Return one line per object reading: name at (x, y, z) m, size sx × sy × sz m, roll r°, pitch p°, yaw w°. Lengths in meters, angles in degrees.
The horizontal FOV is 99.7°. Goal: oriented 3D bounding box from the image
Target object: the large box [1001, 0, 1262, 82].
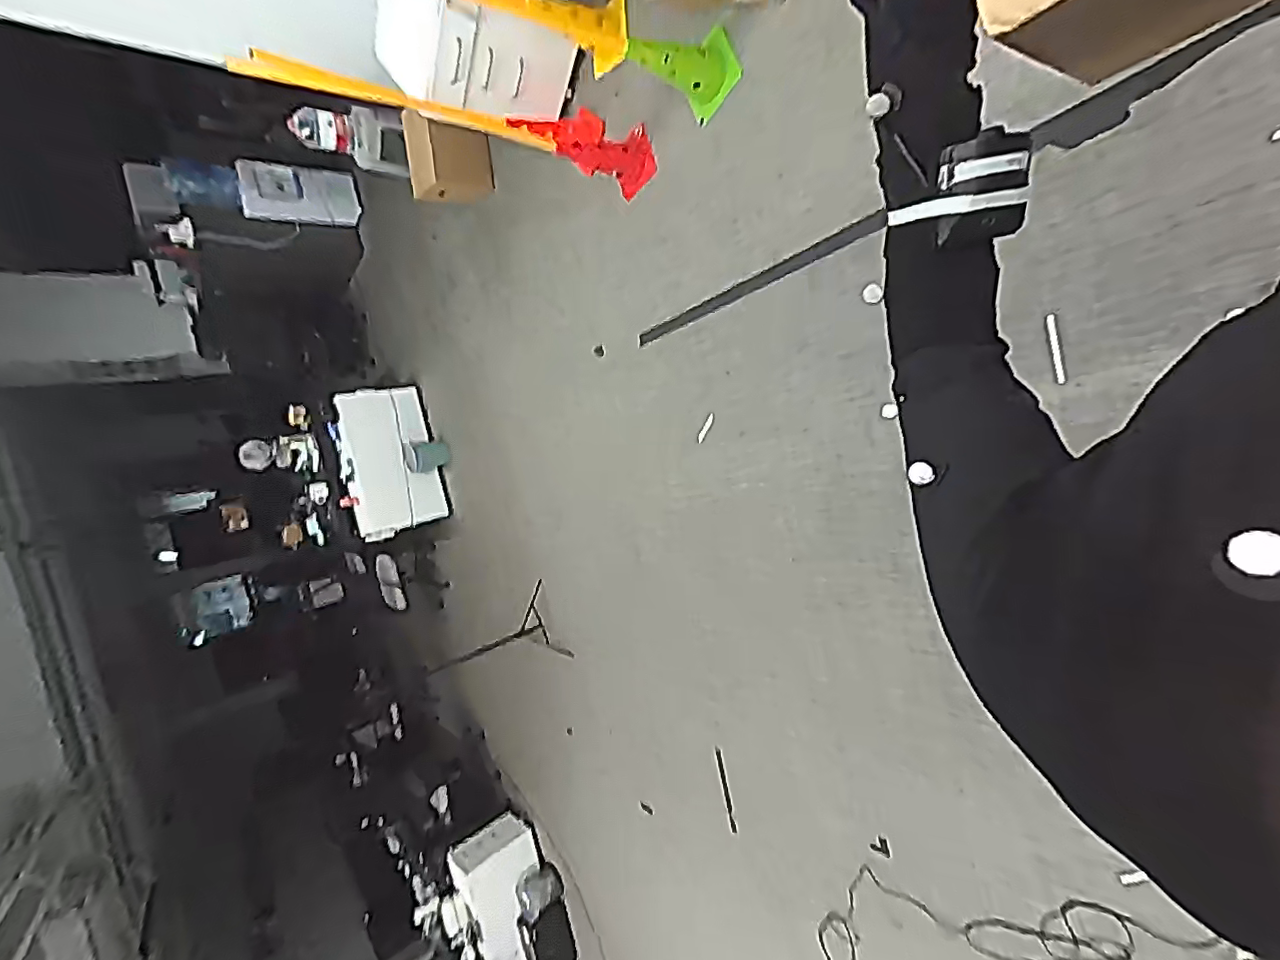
large box at (0.386, -0.470, 0.229) m, size 0.408 × 0.320 × 0.320 m, roll -8°, pitch 105°, yaw 50°
